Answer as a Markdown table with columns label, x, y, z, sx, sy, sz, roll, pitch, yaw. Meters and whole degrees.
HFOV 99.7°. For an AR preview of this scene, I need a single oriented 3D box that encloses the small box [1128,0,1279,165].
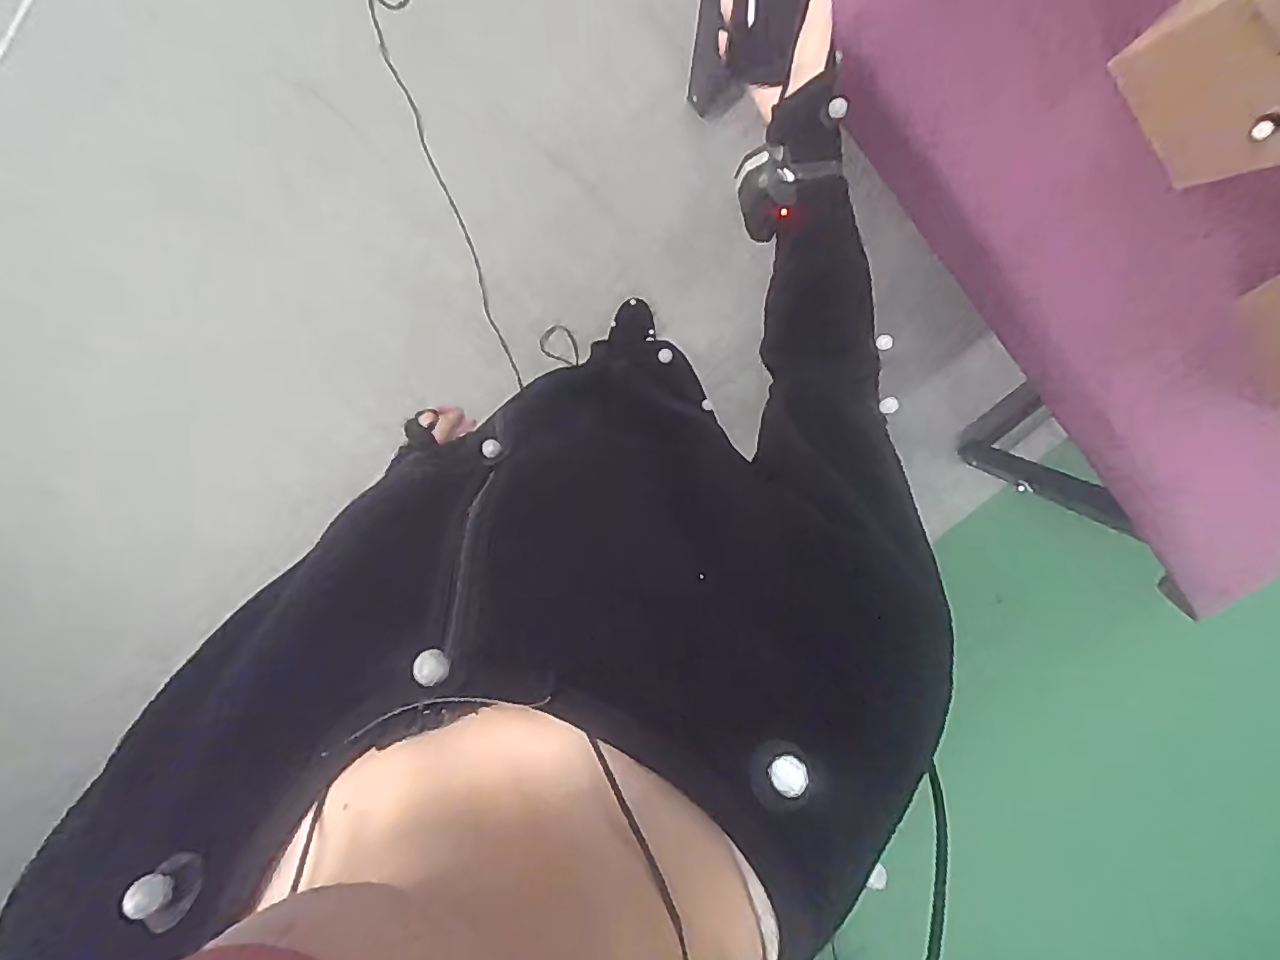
| label | x | y | z | sx | sy | sz | roll | pitch | yaw |
| --- | --- | --- | --- | --- | --- | --- | --- | --- | --- |
| small box | 0.647 | -0.440 | 0.522 | 0.168 | 0.176 | 0.179 | -40 | 101 | 12 |

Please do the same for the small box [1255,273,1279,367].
| label | x | y | z | sx | sy | sz | roll | pitch | yaw |
| --- | --- | --- | --- | --- | --- | --- | --- | --- | --- |
| small box | 0.861 | -0.184 | 0.590 | 0.168 | 0.176 | 0.179 | -34 | 102 | 10 |
